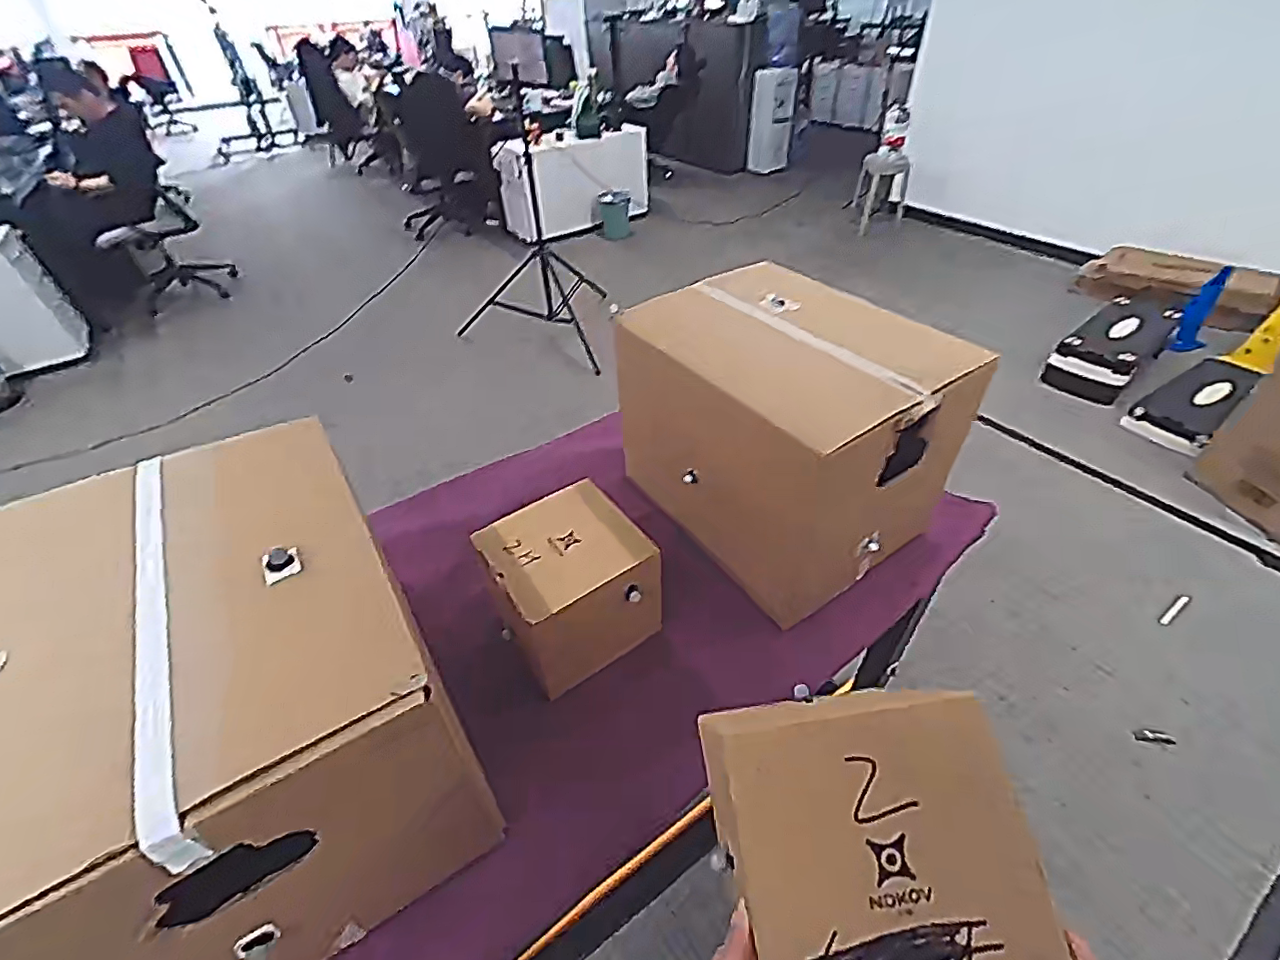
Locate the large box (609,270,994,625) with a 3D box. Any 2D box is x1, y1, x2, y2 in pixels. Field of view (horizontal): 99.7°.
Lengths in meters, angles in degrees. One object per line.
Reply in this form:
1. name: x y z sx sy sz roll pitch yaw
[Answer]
1. large box: 0.203 -0.072 0.812 0.320 0.320 0.408 -26 46 -24
